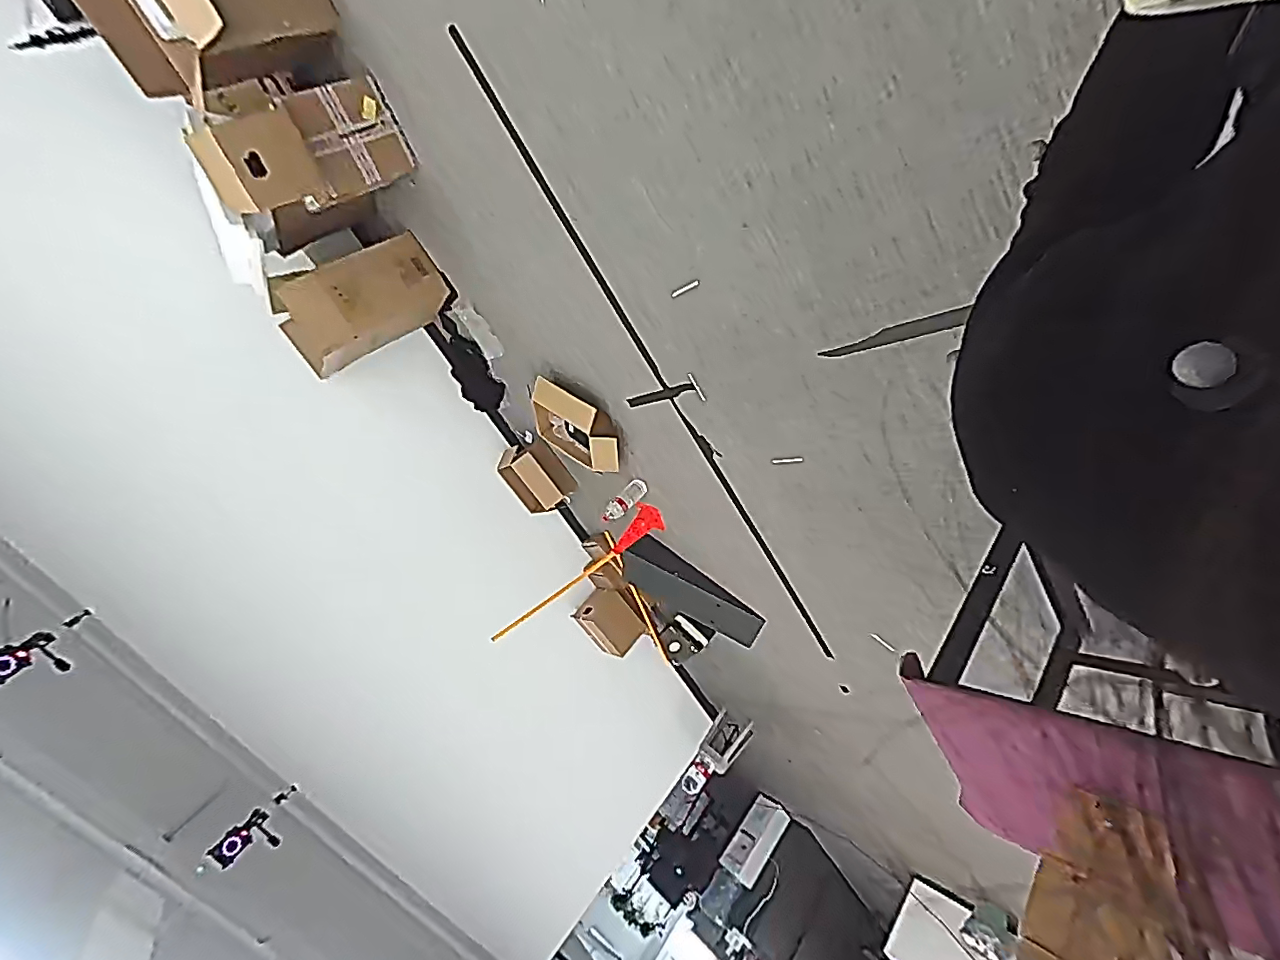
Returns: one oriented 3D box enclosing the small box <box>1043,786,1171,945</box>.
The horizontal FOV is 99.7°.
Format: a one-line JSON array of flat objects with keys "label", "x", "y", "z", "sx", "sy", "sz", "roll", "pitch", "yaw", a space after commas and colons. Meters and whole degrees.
[{"label": "small box", "x": 0.965, "y": 0.782, "z": 1.113, "sx": 0.168, "sy": 0.176, "sz": 0.179, "roll": 4, "pitch": 131, "yaw": 52}]
